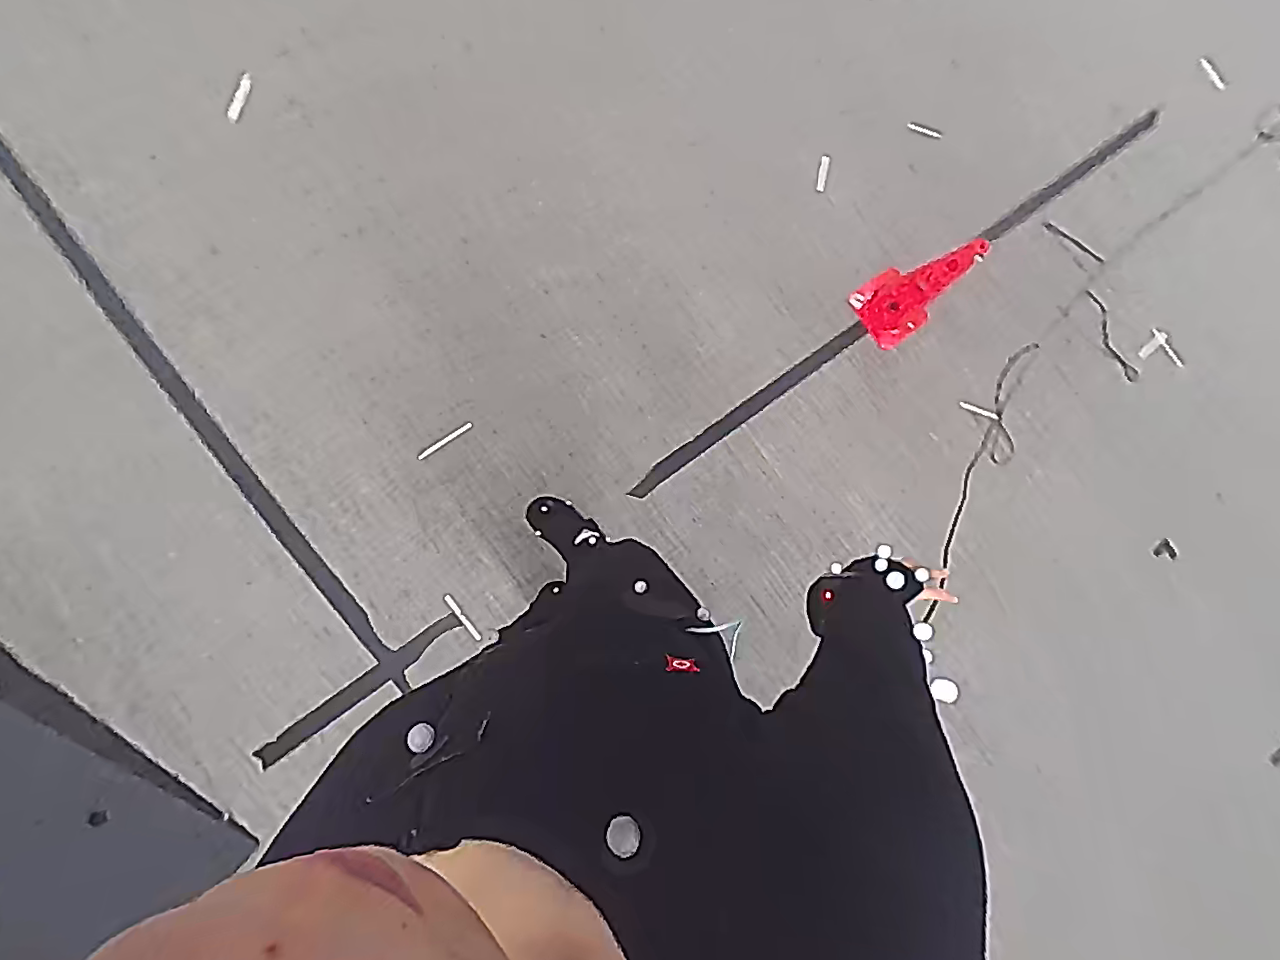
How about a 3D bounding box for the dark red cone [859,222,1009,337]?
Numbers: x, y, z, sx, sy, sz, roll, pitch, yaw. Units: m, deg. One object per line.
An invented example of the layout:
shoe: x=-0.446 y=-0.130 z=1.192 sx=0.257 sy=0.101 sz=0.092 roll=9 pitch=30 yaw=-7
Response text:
dark red cone: x=0.783 y=-0.550 z=1.415 sx=0.202 sy=0.394 sz=0.201 roll=-37 pitch=92 yaw=-11
